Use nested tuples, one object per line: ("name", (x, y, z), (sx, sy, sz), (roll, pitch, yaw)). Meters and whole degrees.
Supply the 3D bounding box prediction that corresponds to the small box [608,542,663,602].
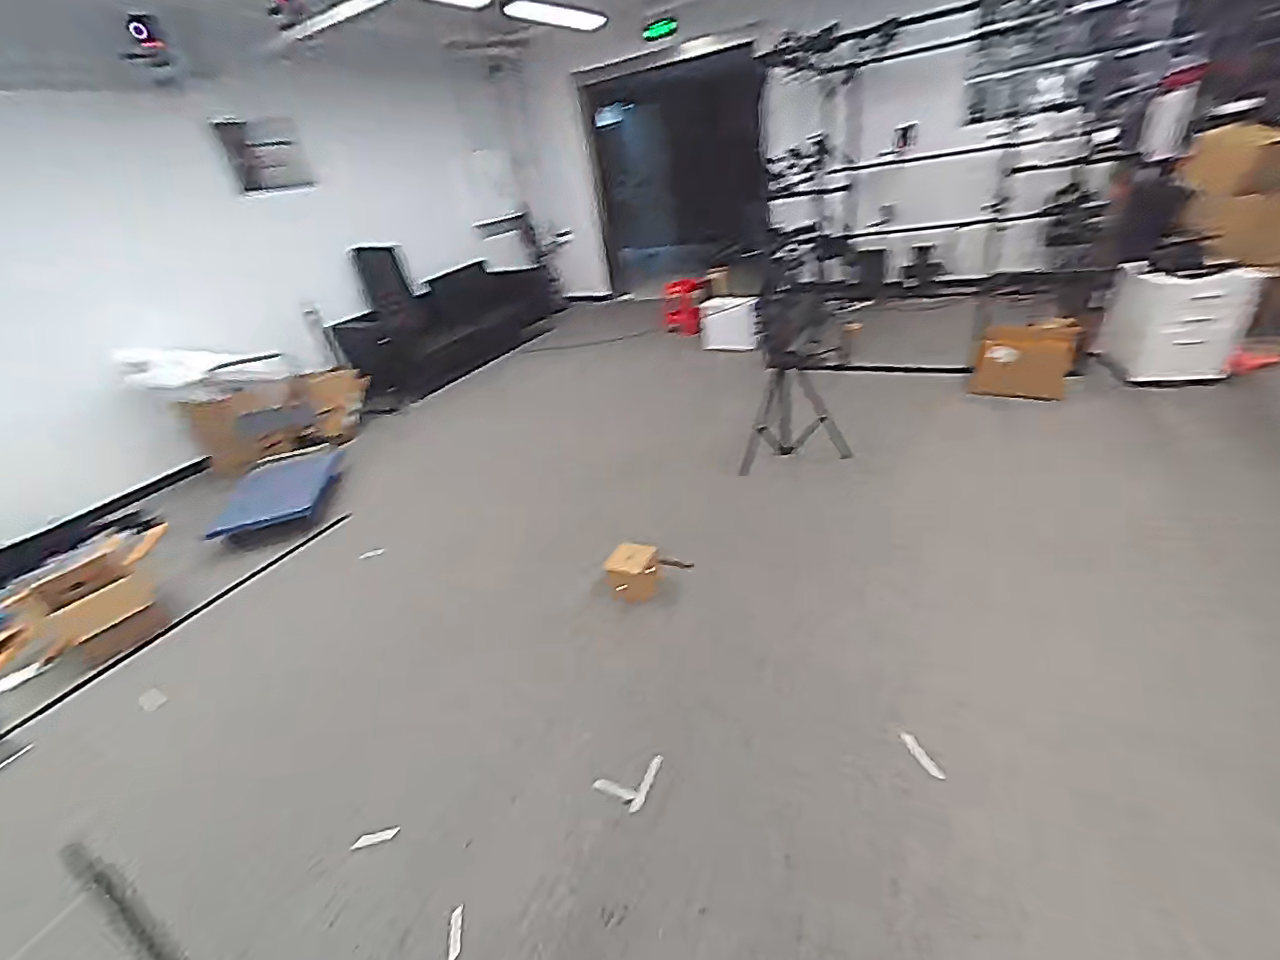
("small box", (-0.011, 0.390, 2.287), (0.168, 0.176, 0.179), (7, 34, 27))
